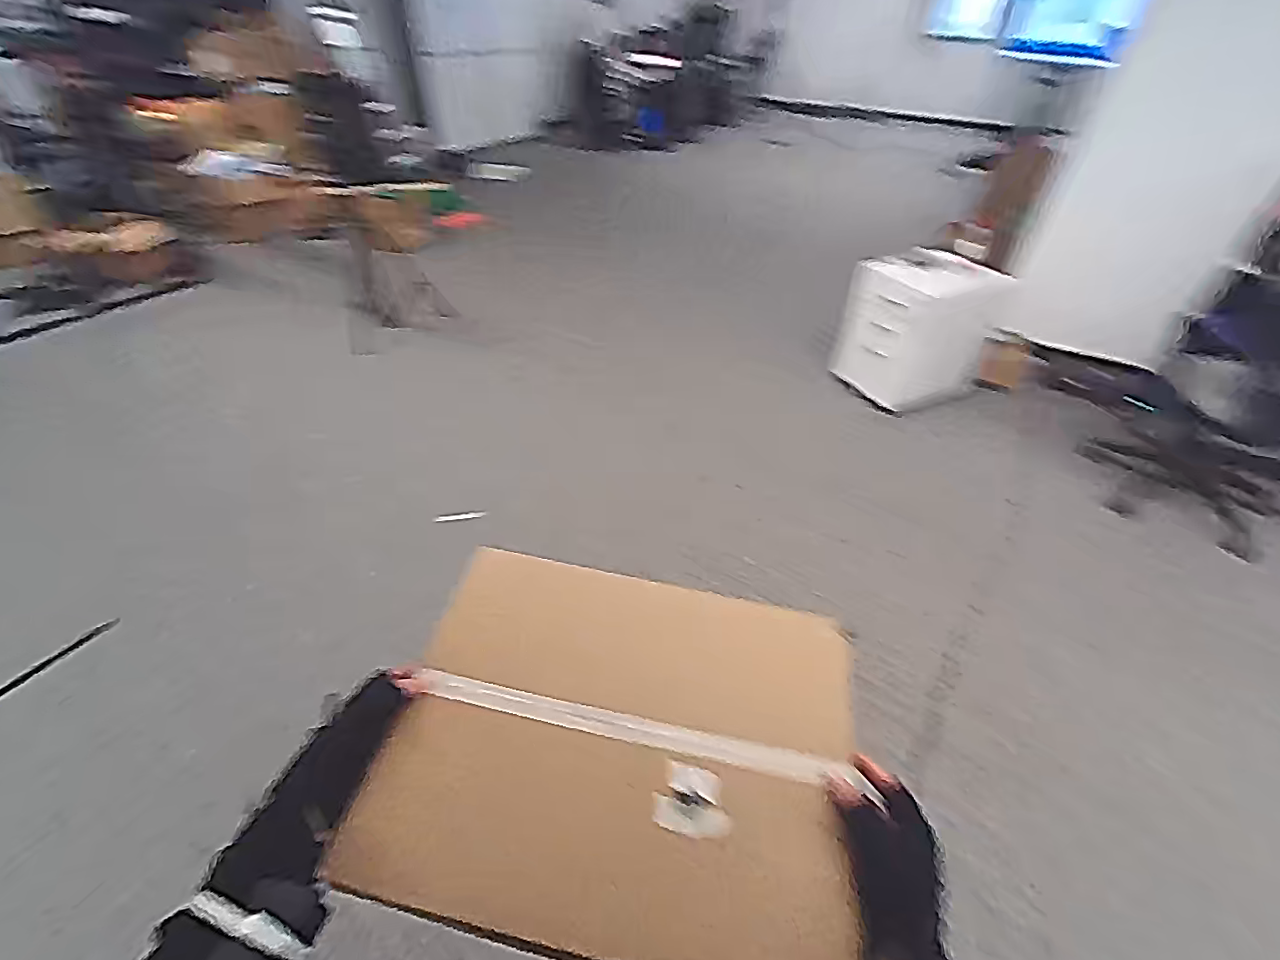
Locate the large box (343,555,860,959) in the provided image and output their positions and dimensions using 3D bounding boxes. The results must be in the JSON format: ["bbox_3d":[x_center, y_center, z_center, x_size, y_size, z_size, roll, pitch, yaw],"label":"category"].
[{"bbox_3d":[-0.021,0.328,0.608,0.408,0.320,0.320,11,48,5],"label":"large box"}]
